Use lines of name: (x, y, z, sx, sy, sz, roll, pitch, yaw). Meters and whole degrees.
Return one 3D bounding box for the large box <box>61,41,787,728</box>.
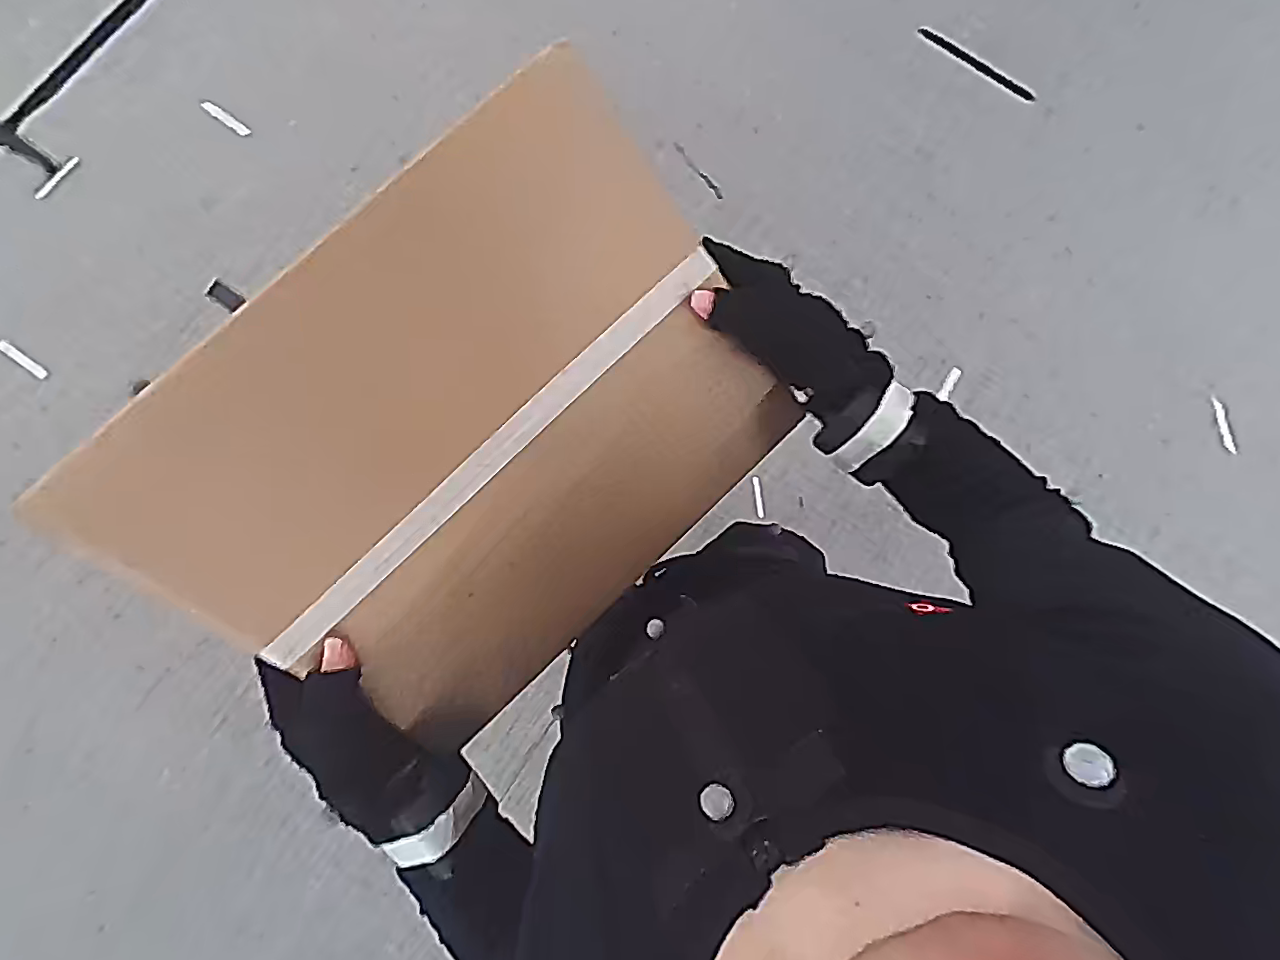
large box: (-0.155, -0.073, 0.517, 0.408, 0.320, 0.320, -43, 118, -4)
